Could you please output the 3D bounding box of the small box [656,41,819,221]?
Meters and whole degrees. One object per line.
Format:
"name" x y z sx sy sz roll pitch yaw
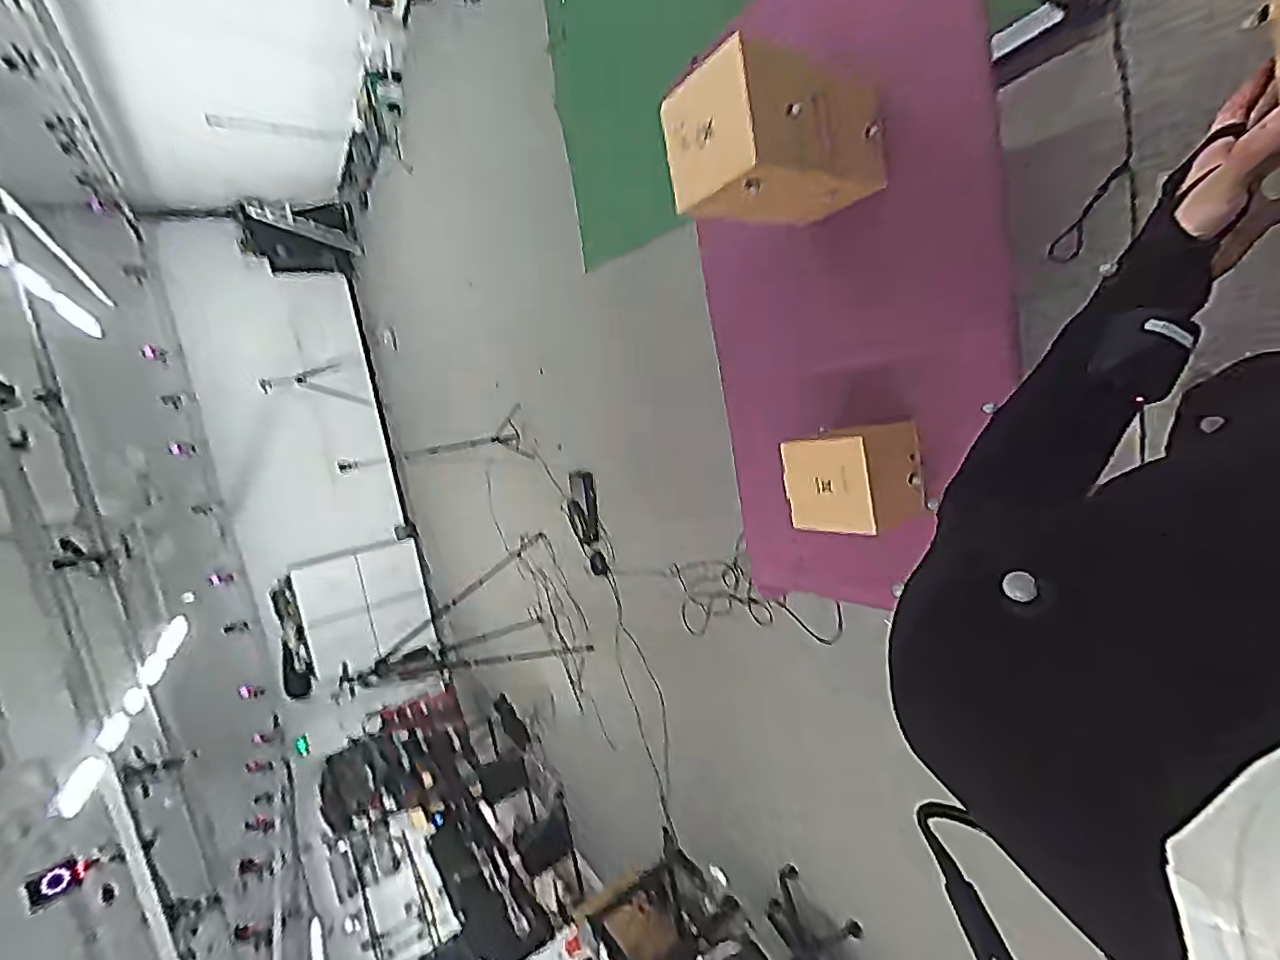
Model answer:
"small box" 0.153 -0.512 0.823 0.179 0.176 0.168 1 103 56

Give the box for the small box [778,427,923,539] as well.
"small box" 0.383 0.000 0.988 0.179 0.176 0.168 -1 102 56
